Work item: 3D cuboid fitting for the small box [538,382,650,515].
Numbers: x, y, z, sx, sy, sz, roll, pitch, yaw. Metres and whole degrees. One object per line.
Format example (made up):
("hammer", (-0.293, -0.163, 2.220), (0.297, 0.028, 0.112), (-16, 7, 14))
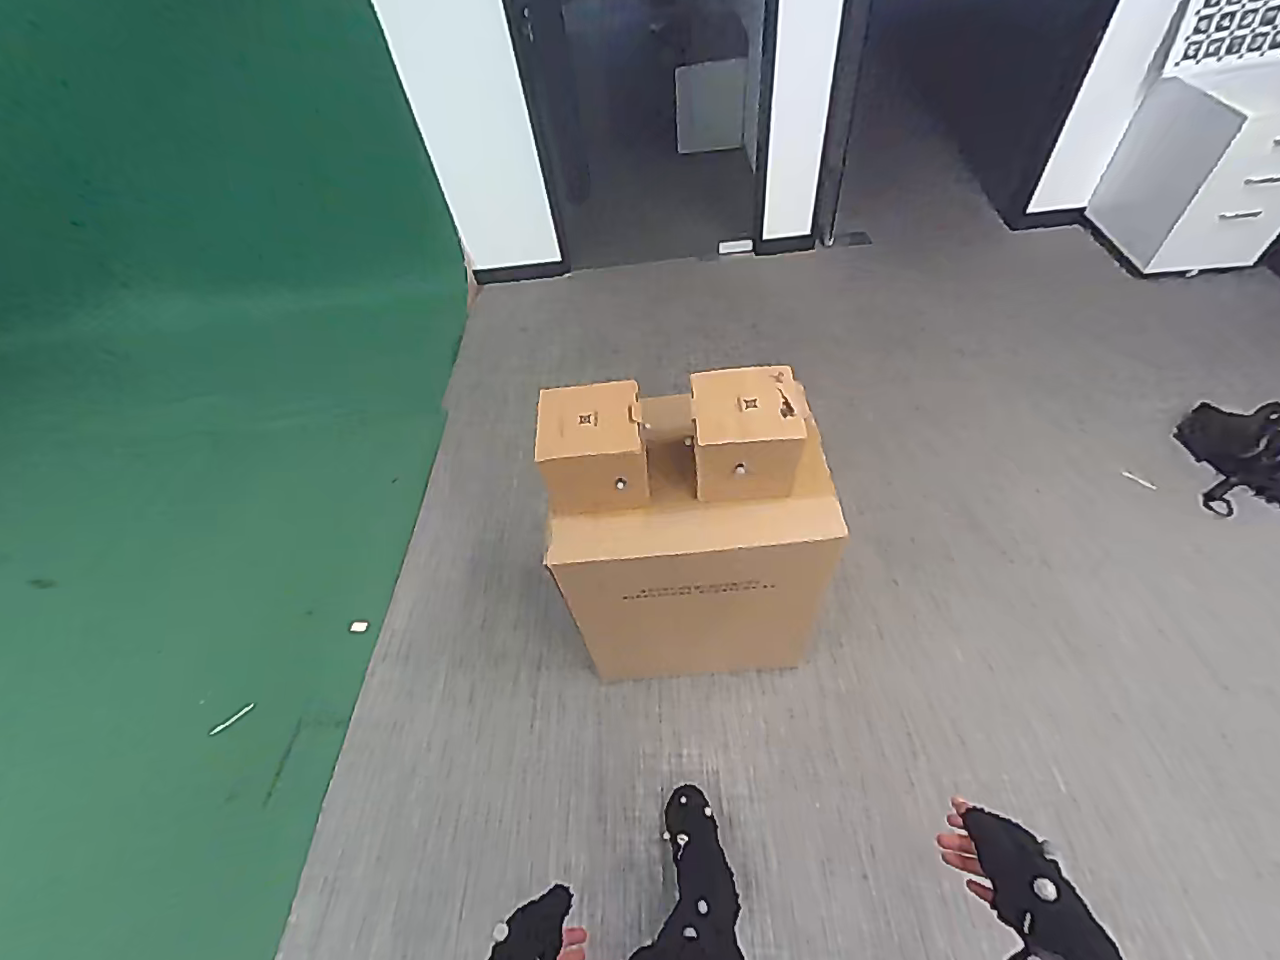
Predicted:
("small box", (-0.076, -0.053, 0.983), (0.179, 0.176, 0.168), (-7, 53, 4))

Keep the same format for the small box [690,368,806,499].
("small box", (0.185, -0.077, 0.966), (0.179, 0.176, 0.168), (-4, 55, 4))
